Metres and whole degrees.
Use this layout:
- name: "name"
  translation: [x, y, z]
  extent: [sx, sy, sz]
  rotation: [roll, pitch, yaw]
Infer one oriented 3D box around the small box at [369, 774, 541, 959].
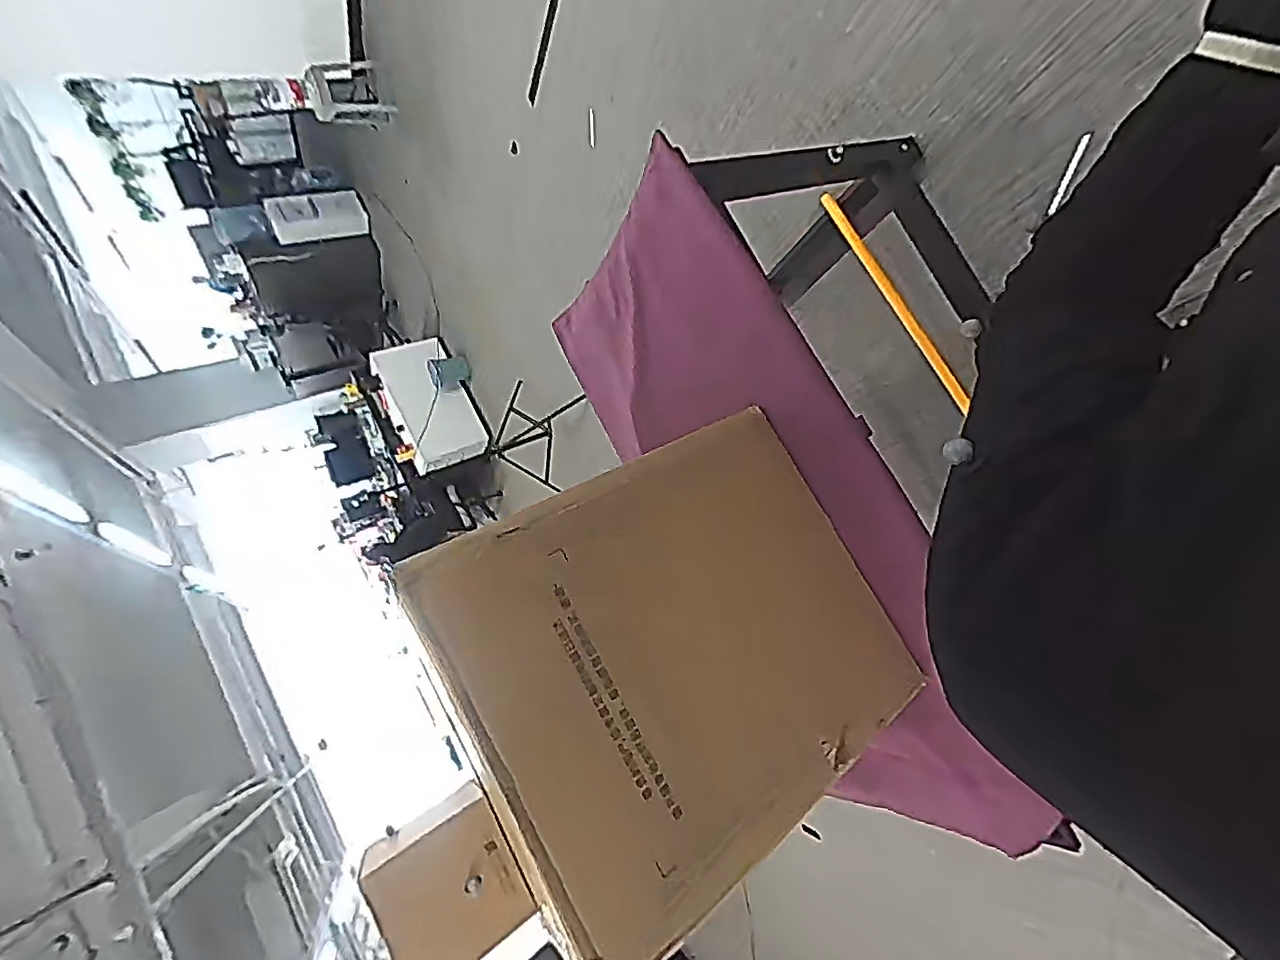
- name: "small box"
  translation: [-0.258, 0.545, 0.762]
  extent: [0.168, 0.176, 0.179]
  rotation: [61, 151, 8]
